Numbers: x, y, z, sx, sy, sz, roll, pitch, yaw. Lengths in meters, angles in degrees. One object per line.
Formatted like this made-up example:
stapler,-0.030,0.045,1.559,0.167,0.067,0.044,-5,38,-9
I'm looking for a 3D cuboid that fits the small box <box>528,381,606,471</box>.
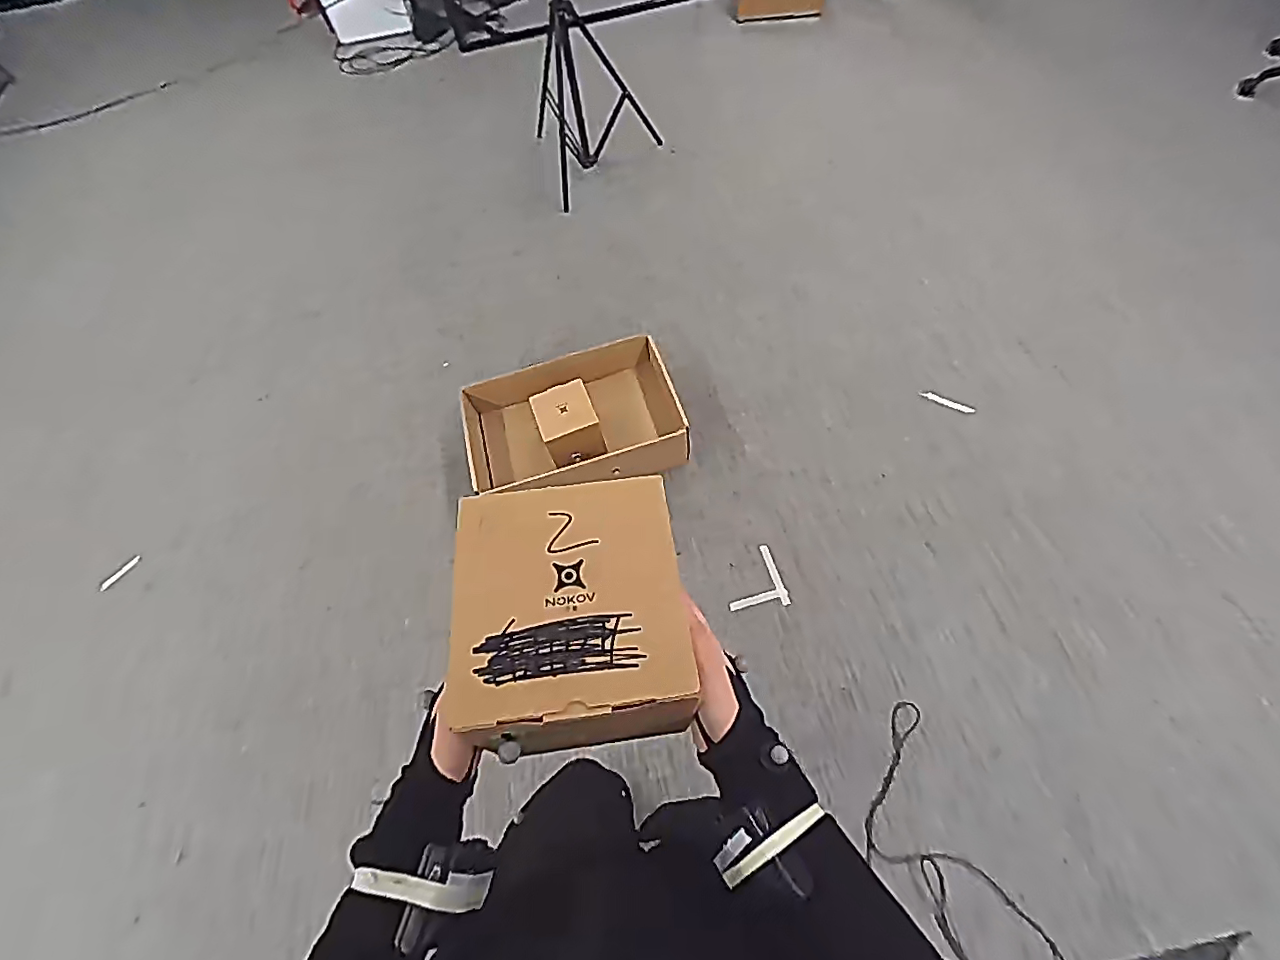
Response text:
small box,-0.215,-0.156,1.615,0.168,0.176,0.179,-23,62,-5
